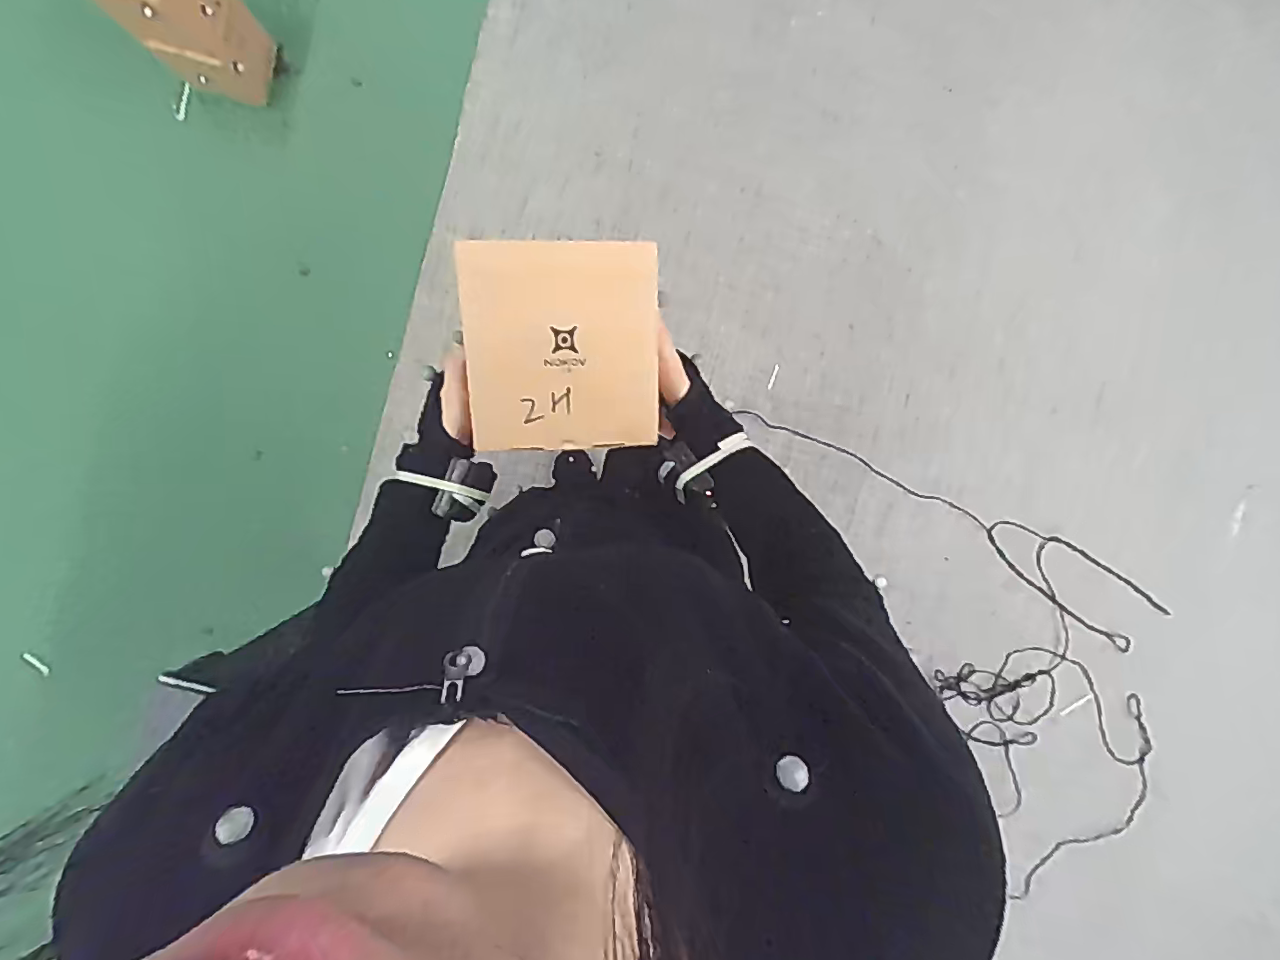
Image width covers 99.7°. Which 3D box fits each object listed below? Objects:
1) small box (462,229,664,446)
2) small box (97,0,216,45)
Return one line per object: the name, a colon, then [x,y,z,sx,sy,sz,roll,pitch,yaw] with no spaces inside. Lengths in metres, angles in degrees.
small box: [-0.073,-0.137,0.534,0.168,0.176,0.179,-2,107,-8]
small box: [-1.007,-1.031,1.089,0.179,0.176,0.168,12,93,-6]
